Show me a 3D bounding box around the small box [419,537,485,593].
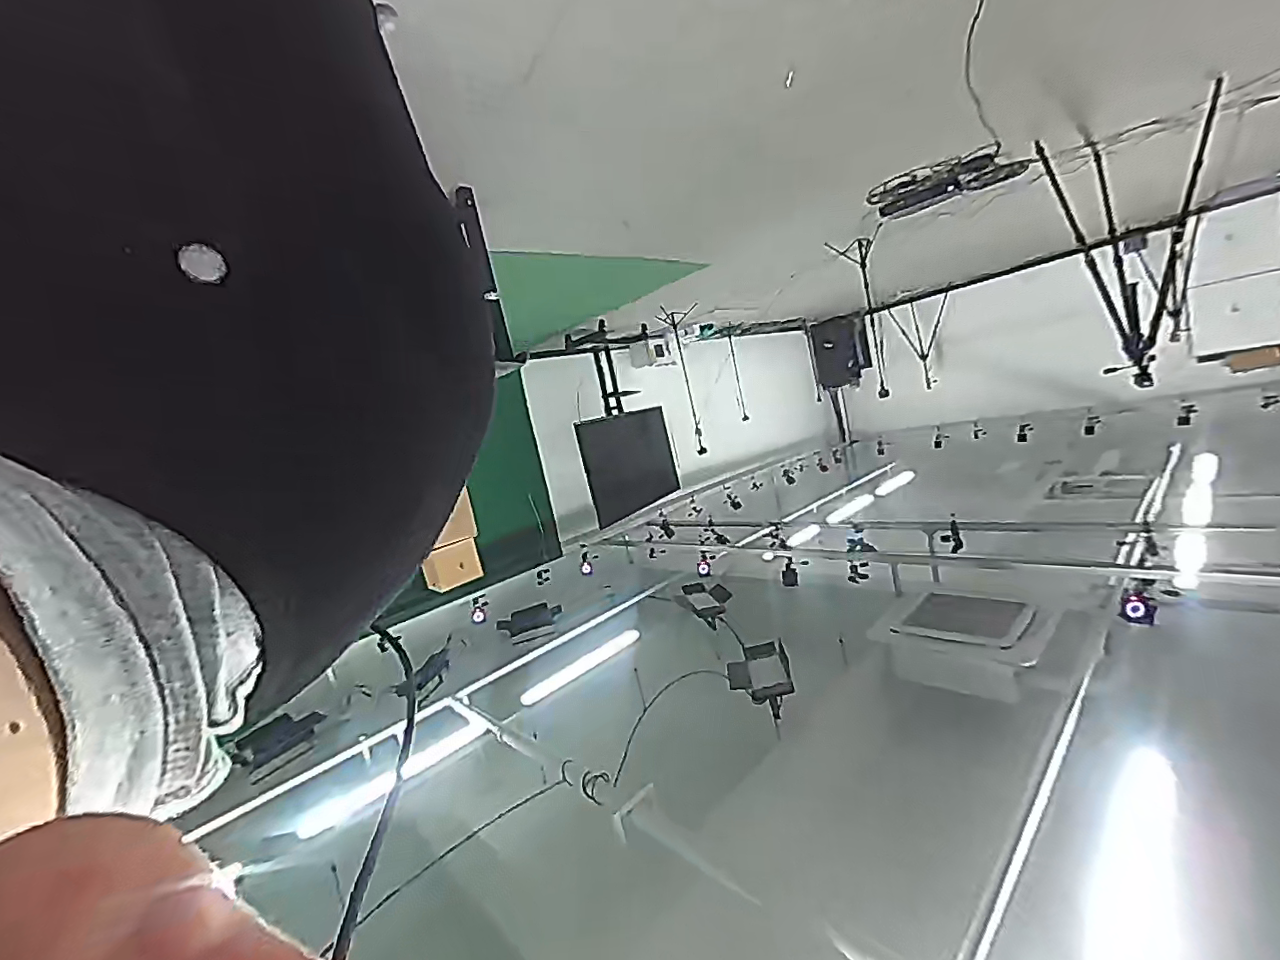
[{"bbox_3d":[-0.756,0.333,2.168,0.179,0.176,0.168,-22,-170,-38],"label":"small box"}]
